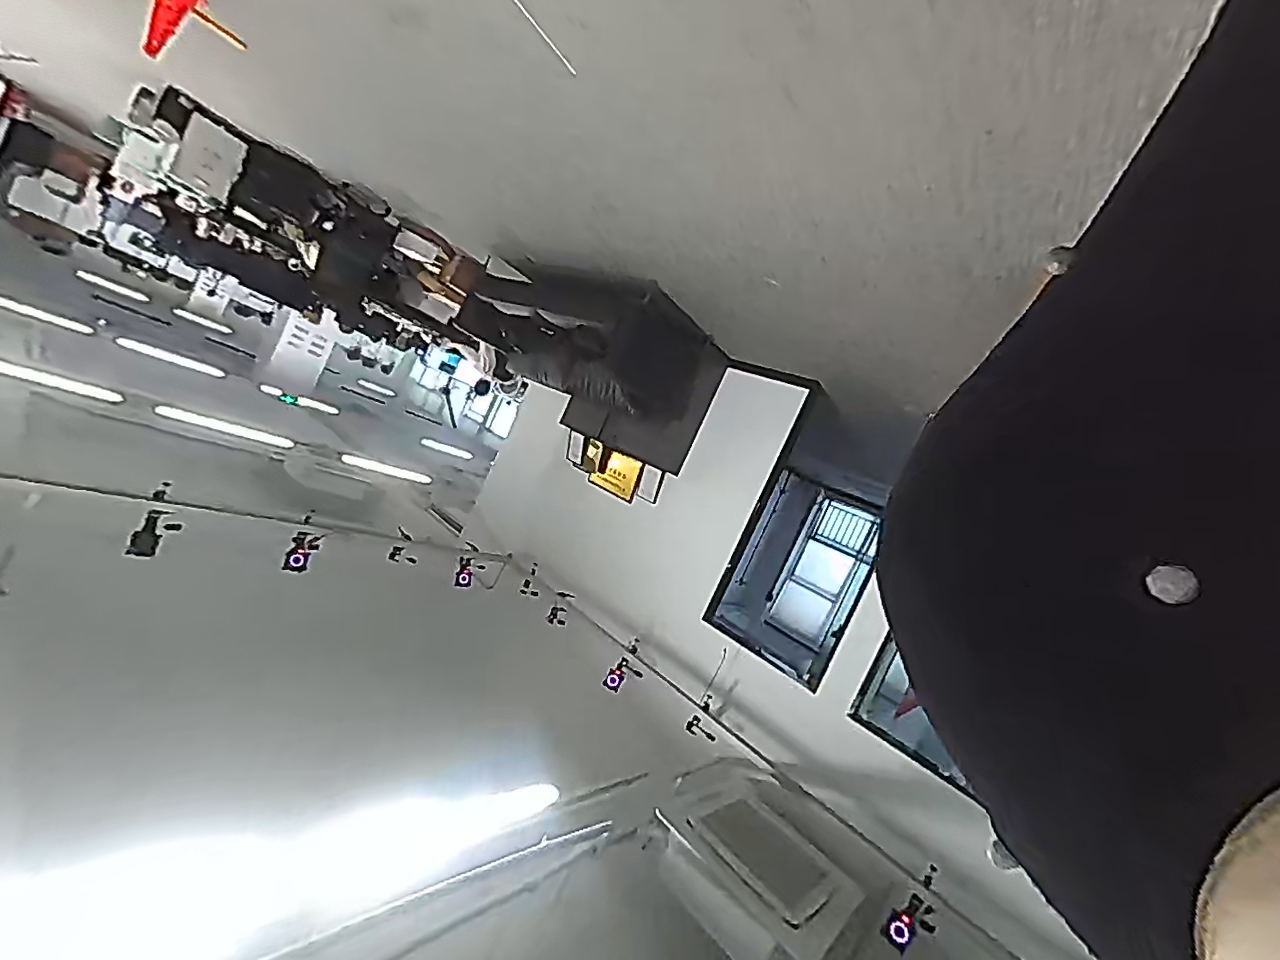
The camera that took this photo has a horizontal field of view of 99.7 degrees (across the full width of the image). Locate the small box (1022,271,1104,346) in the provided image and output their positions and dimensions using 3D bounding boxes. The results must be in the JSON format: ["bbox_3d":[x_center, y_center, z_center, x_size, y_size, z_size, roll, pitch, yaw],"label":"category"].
[{"bbox_3d":[1.363,-0.553,1.753,0.168,0.176,0.179,27,-178,35],"label":"small box"}]
